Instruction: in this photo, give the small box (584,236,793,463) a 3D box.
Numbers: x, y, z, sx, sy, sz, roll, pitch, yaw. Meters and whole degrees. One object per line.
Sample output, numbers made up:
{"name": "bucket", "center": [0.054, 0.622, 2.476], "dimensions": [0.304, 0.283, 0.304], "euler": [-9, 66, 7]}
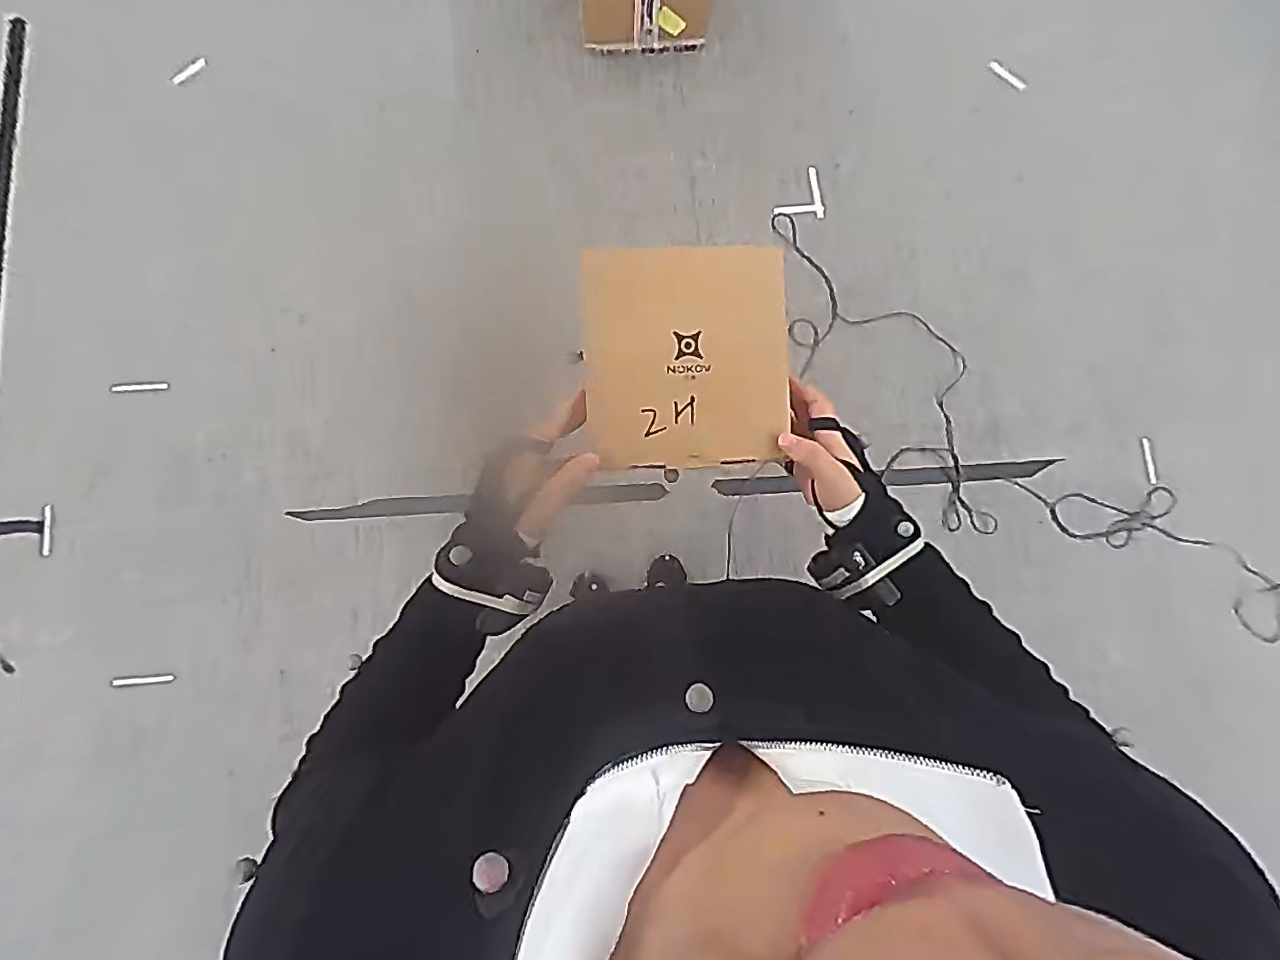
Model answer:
{"name": "small box", "center": [0.032, -0.108, 0.510], "dimensions": [0.168, 0.176, 0.179], "euler": [-3, 92, -5]}
